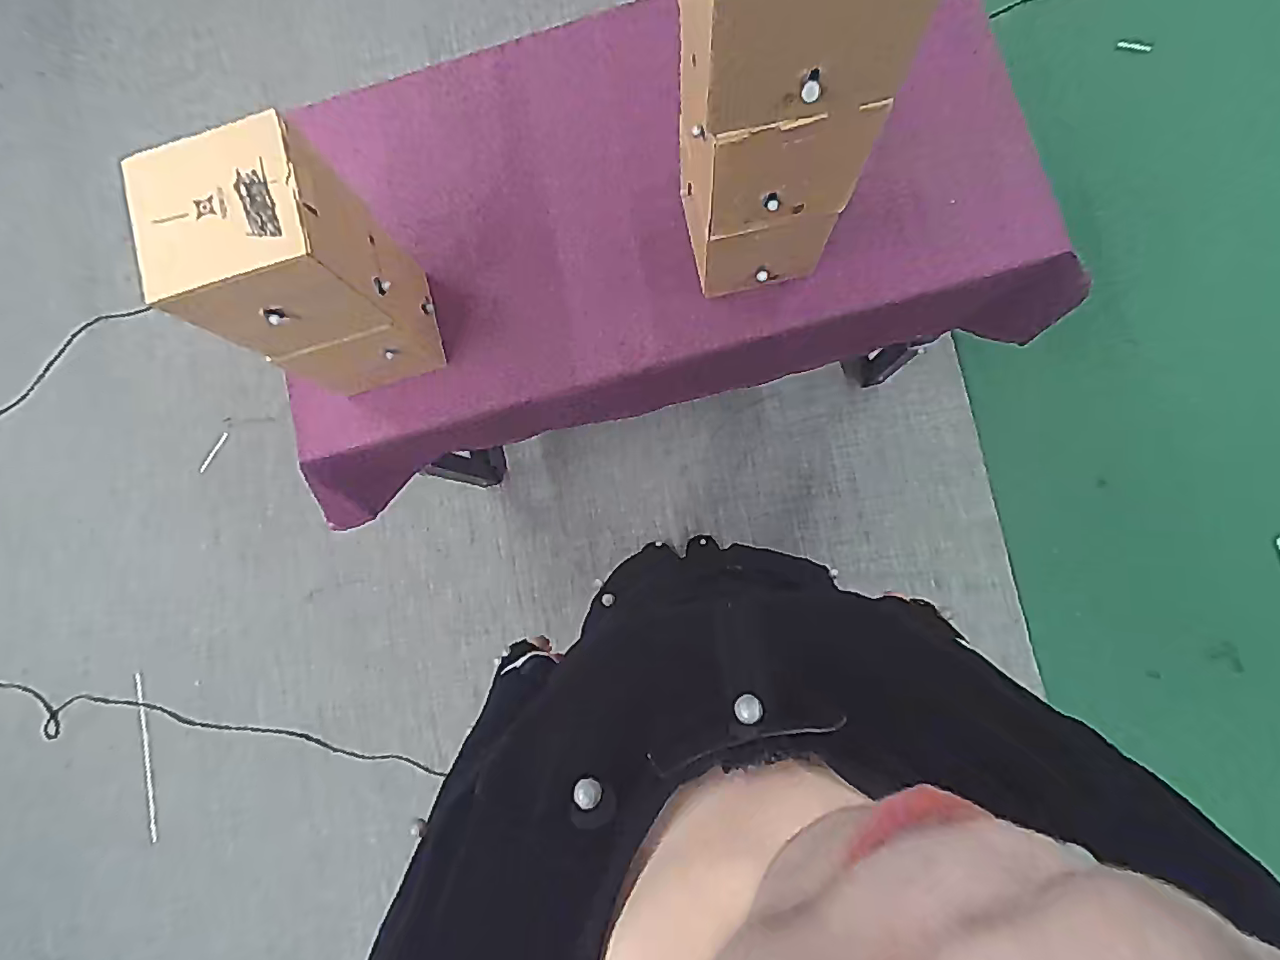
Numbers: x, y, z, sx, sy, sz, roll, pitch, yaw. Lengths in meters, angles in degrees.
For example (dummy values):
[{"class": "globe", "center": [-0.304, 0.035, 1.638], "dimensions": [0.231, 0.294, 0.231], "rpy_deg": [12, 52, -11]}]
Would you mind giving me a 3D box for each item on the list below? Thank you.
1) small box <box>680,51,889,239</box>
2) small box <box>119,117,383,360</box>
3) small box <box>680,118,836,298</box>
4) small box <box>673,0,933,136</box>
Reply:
[{"class": "small box", "center": [0.138, -0.398, 0.585], "dimensions": [0.168, 0.176, 0.179], "rpy_deg": [-12, 84, 4]}, {"class": "small box", "center": [-0.421, -0.258, 0.618], "dimensions": [0.179, 0.176, 0.168], "rpy_deg": [-16, 83, 3]}, {"class": "small box", "center": [0.149, -0.381, 0.746], "dimensions": [0.168, 0.176, 0.179], "rpy_deg": [-12, 84, 4]}, {"class": "small box", "center": [0.122, -0.412, 0.422], "dimensions": [0.179, 0.176, 0.168], "rpy_deg": [-10, 84, 3]}]
